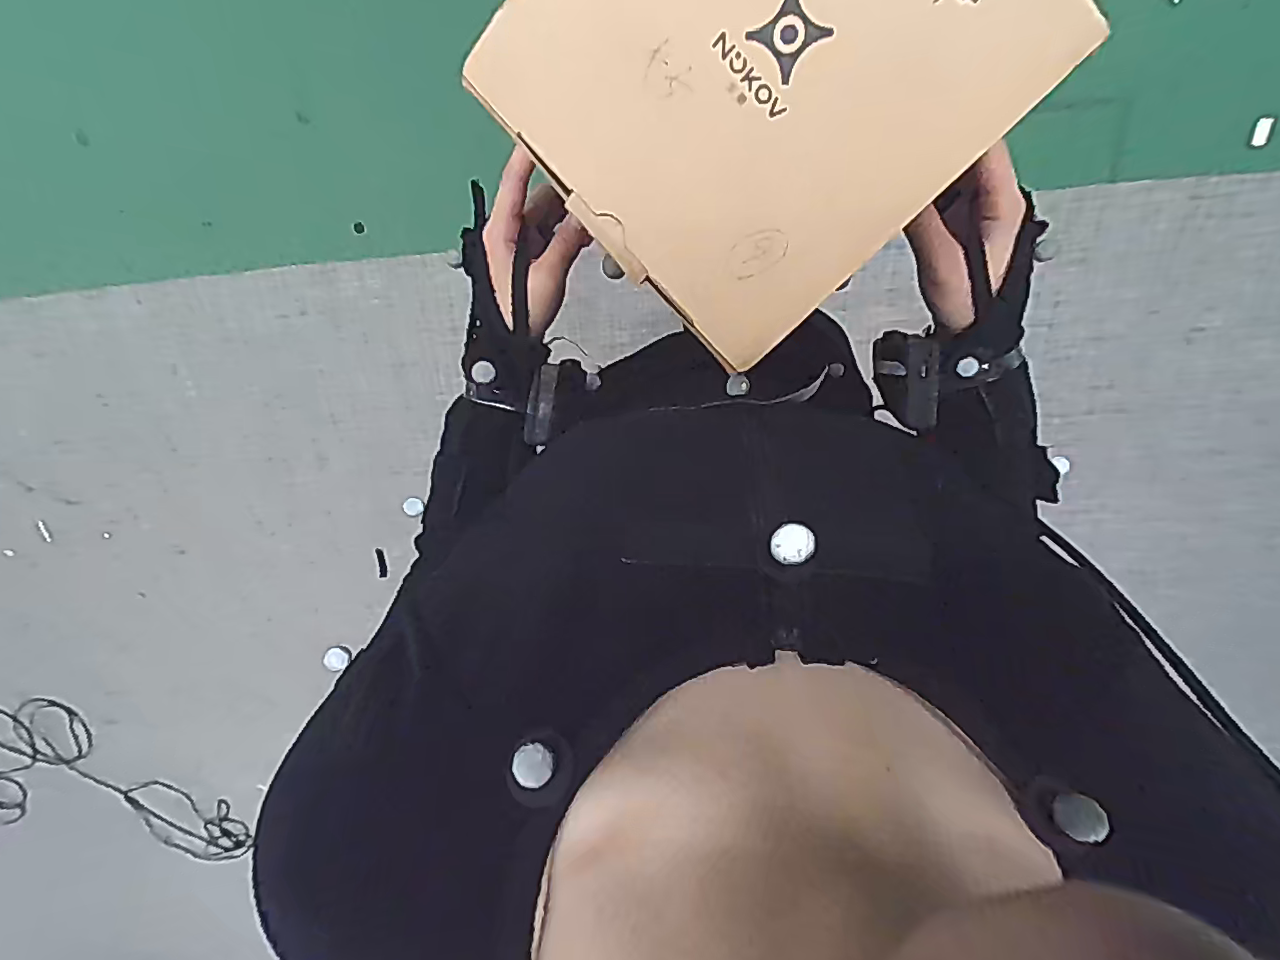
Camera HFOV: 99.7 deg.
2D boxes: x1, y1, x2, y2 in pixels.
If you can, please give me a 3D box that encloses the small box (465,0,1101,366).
[{"bbox_3d":[0.054,-0.183,0.275,0.179,0.176,0.168,-42,100,16],"label":"small box"}]
